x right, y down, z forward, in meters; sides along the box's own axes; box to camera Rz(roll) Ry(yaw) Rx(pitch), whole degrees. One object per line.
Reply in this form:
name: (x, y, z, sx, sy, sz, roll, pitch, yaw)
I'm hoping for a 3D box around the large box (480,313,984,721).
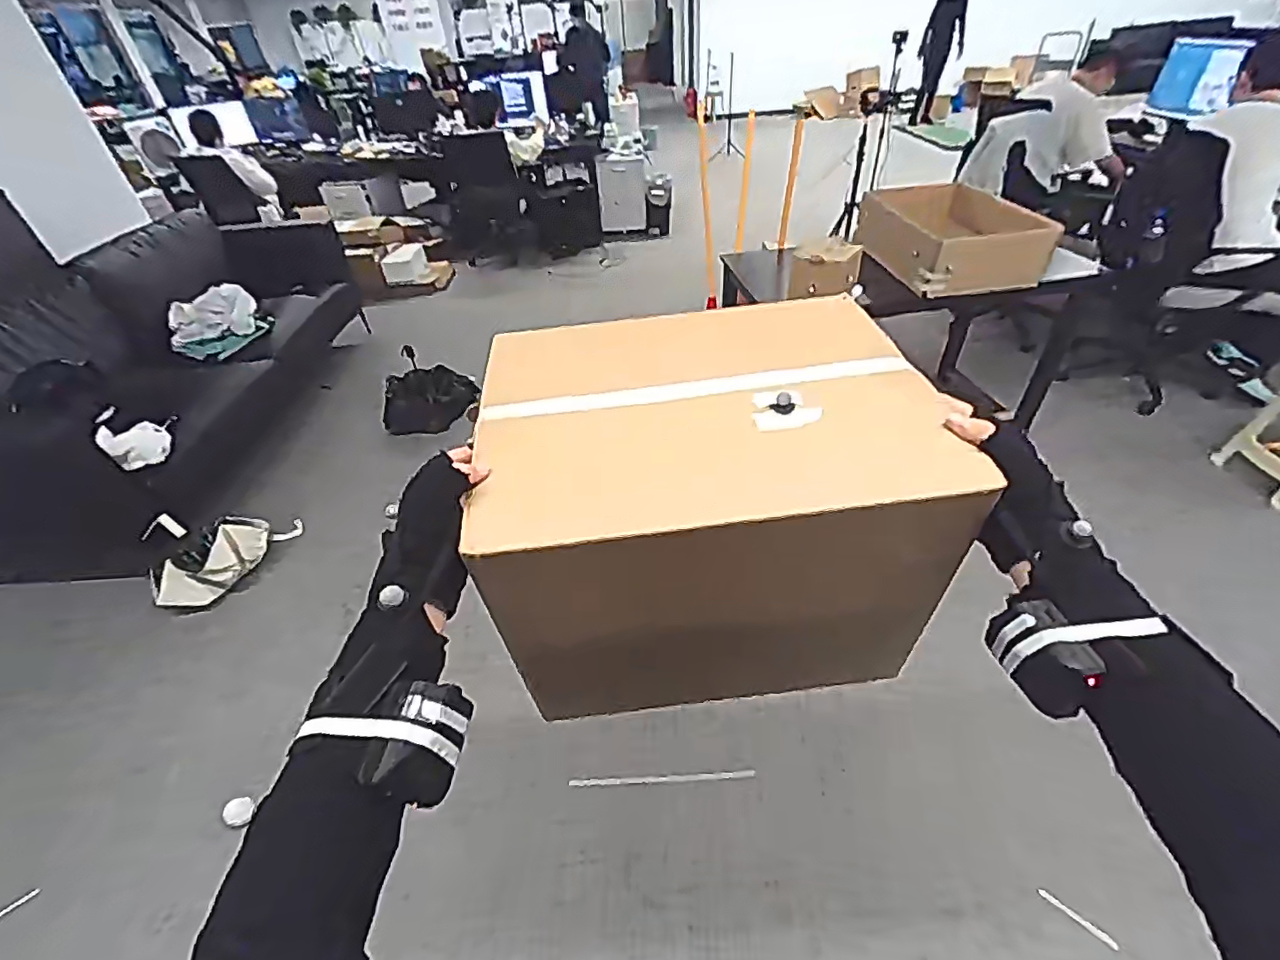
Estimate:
large box: (0.065, 0.038, 0.619, 0.408, 0.320, 0.320, -7, 45, -2)
